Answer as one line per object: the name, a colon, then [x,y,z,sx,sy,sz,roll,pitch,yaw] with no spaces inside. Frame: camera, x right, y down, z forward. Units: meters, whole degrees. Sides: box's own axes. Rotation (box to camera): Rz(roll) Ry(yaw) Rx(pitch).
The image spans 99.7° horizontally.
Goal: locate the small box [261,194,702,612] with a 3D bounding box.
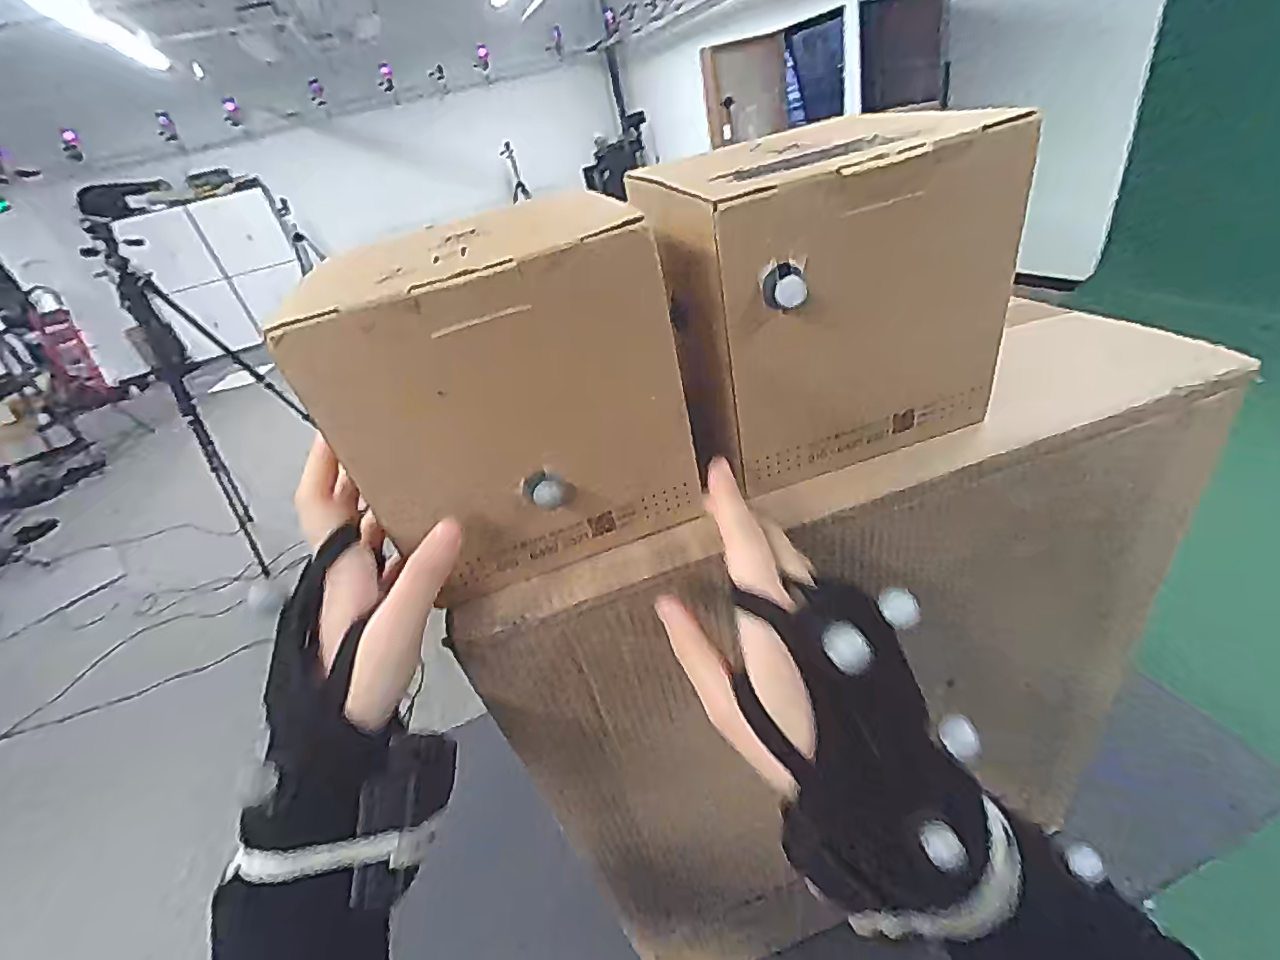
small box: [-0.075,-0.055,0.328,0.168,0.176,0.179,-20,36,-6]
